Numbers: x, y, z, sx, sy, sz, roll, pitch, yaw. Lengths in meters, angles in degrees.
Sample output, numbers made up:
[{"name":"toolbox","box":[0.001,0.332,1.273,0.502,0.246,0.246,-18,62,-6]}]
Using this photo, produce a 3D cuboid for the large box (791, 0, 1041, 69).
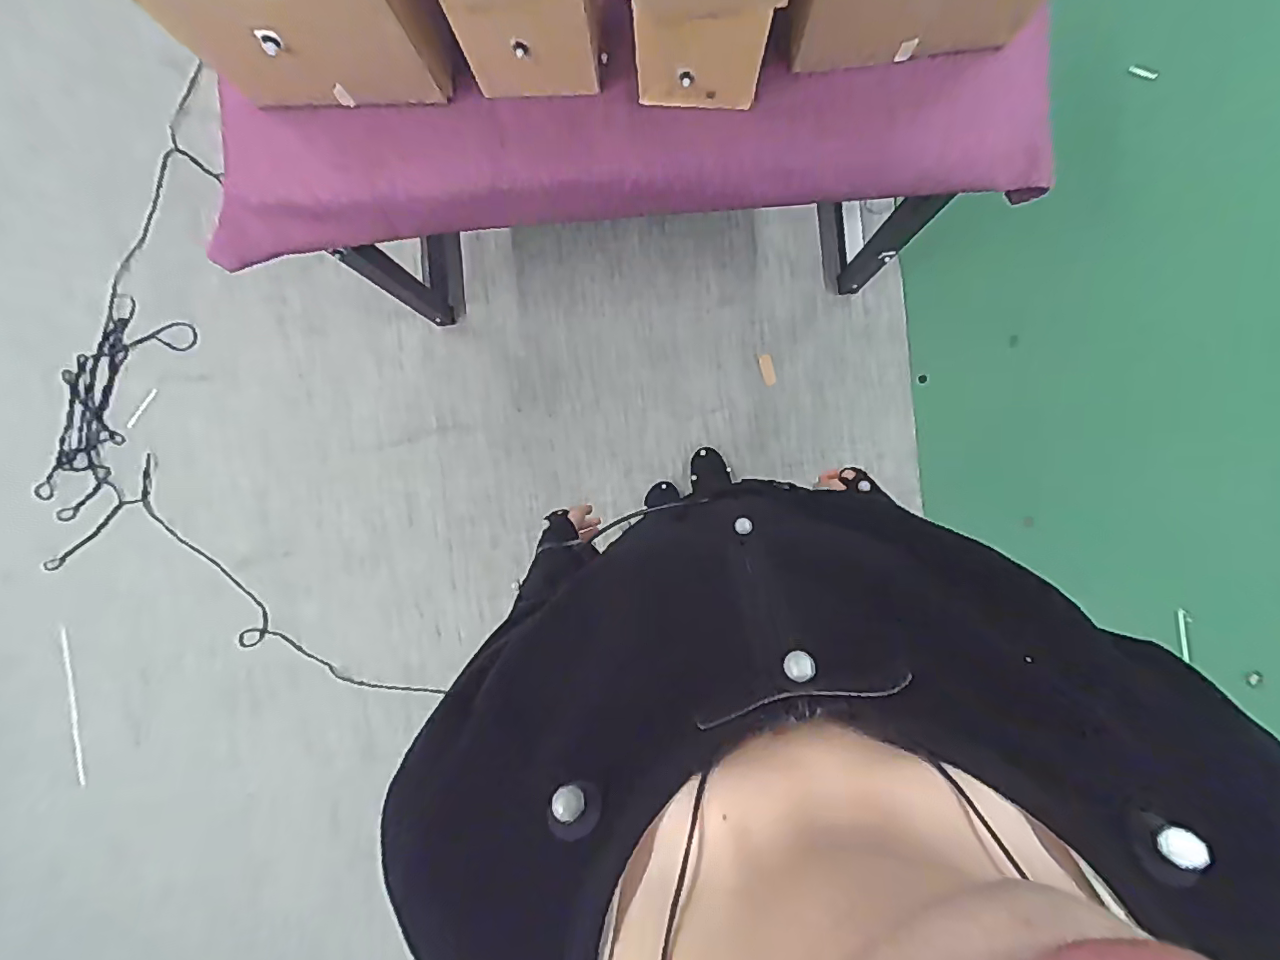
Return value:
[{"name":"large box","box":[0.348,-0.800,0.622,0.320,0.320,0.408,-5,91,5]}]
